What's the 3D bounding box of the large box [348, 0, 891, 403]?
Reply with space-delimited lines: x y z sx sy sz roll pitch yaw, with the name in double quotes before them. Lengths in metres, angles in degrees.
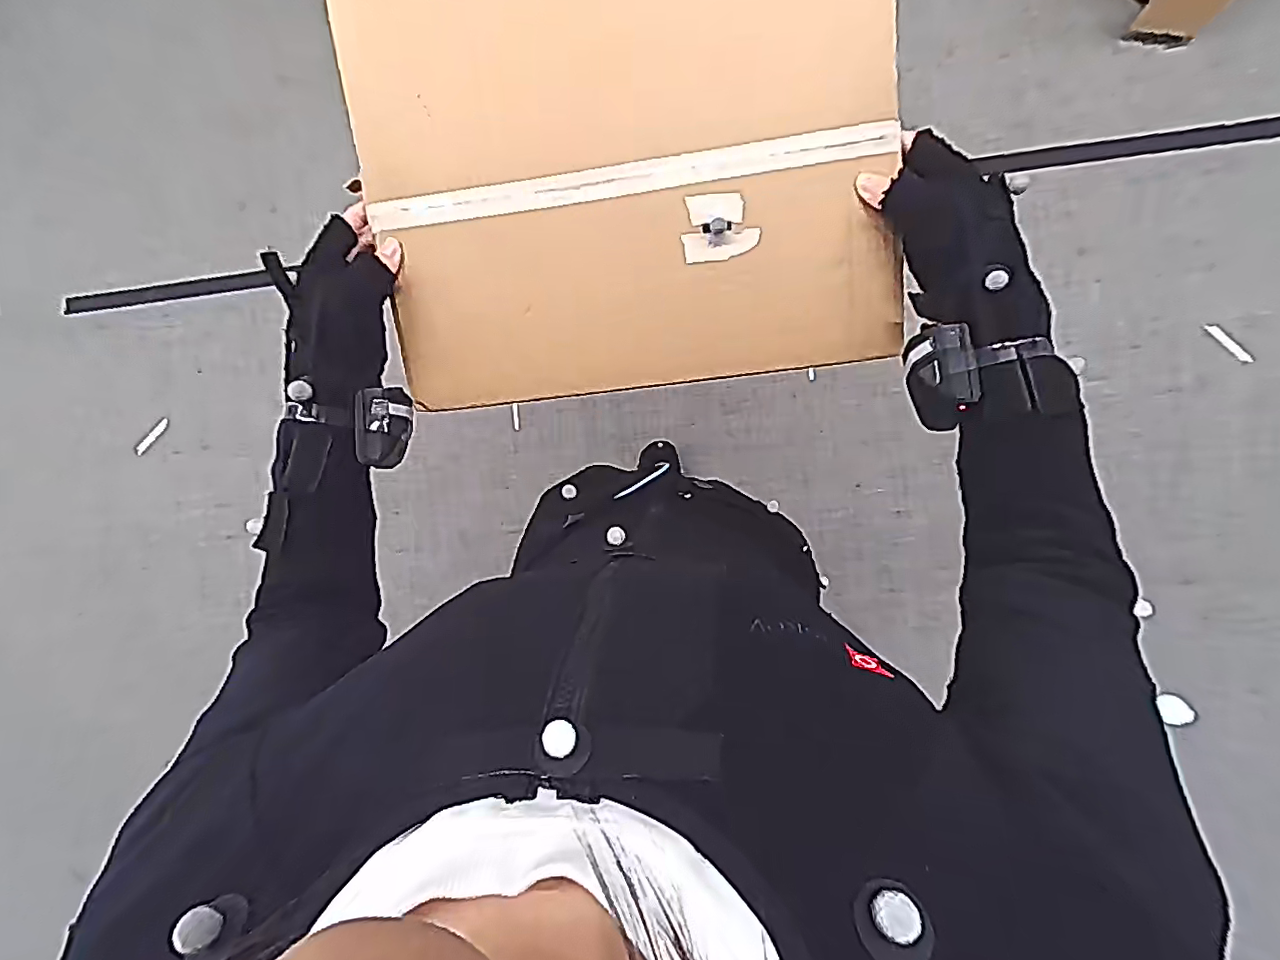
"large box" -0.003 -0.272 0.572 0.408 0.320 0.320 -6 104 5
